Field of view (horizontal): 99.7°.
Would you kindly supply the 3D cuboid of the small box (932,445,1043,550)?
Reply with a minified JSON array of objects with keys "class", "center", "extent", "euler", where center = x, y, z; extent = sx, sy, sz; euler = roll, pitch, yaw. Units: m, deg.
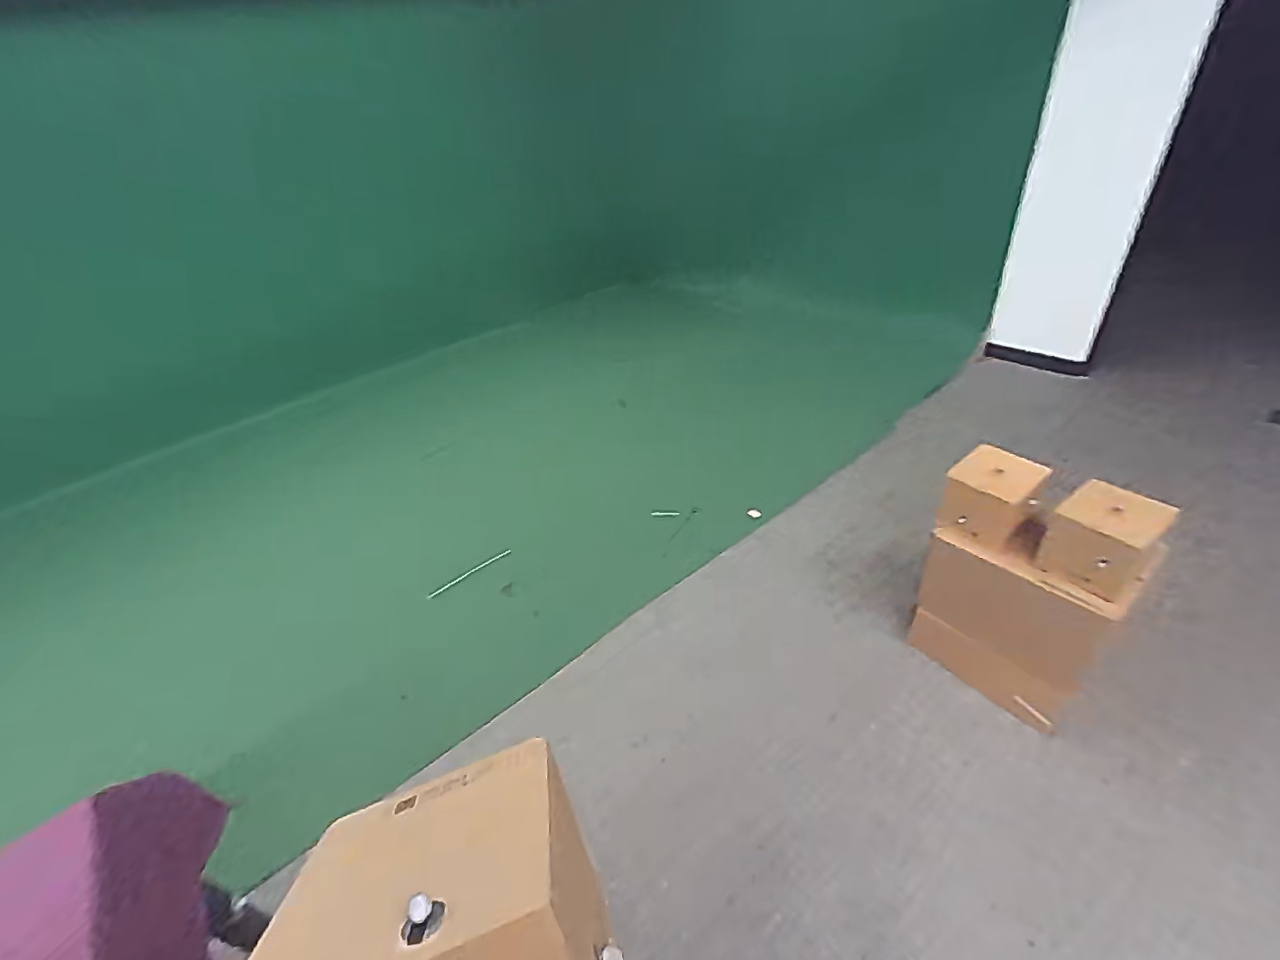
[{"class":"small box","center":[0.879,0.045,1.383],"extent":[0.179,0.176,0.168],"euler":[-32,43,-24]}]

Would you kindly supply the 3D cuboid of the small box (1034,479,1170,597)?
[{"class":"small box","center":[1.033,0.132,1.225],"extent":[0.179,0.176,0.168],"euler":[-27,38,-23]}]

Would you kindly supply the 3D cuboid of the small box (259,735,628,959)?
[{"class":"small box","center":[-0.100,0.299,0.332],"extent":[0.168,0.179,0.176],"euler":[-18,5,-10]}]
